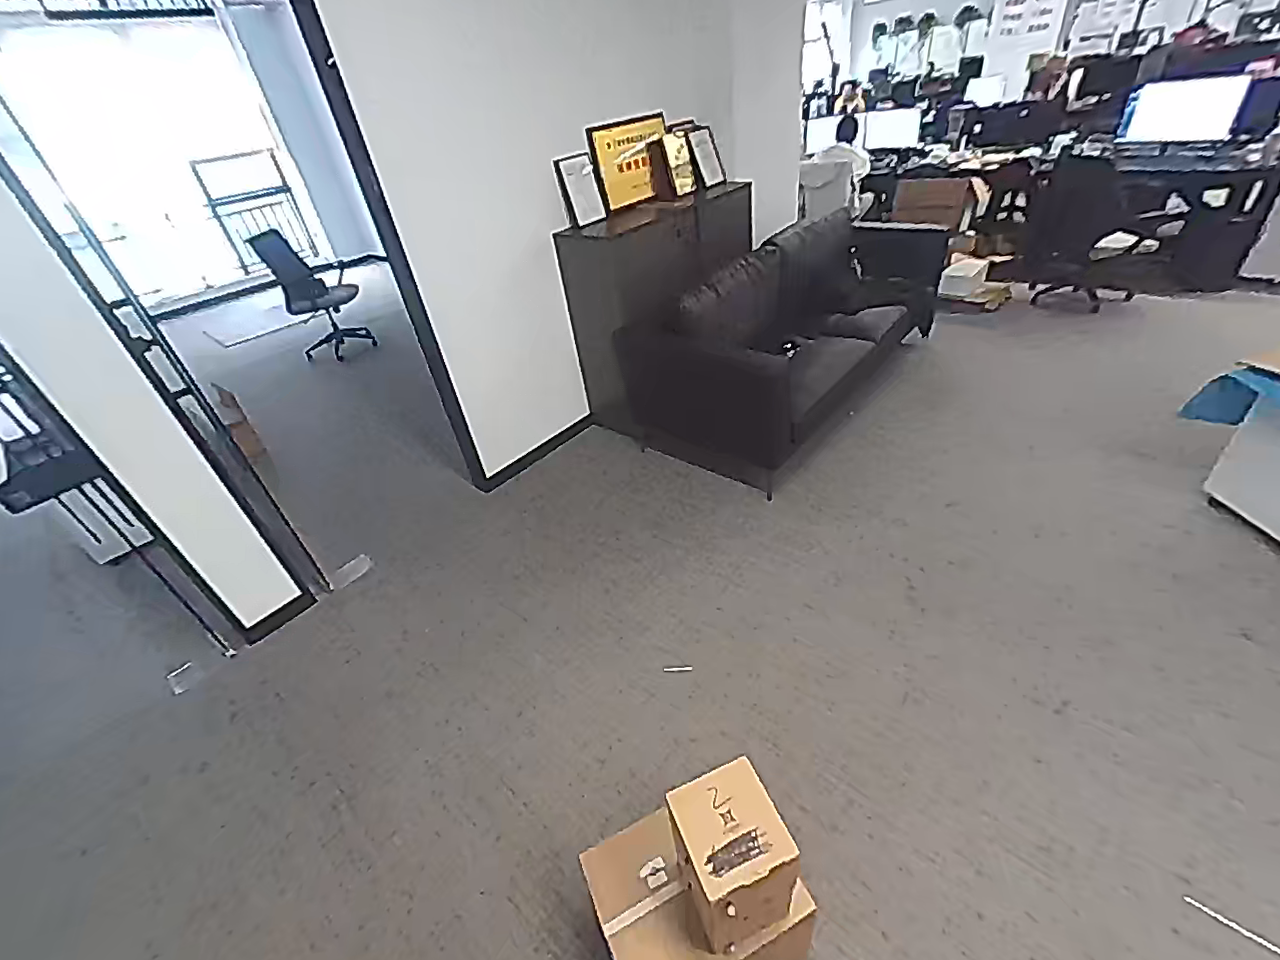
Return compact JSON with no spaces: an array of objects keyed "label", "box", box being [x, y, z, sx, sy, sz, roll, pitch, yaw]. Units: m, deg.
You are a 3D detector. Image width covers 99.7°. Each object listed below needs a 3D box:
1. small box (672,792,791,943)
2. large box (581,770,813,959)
[{"label":"small box","box":[0.177,0.764,1.060,0.168,0.176,0.179,-18,38,-13]},{"label":"large box","box":[0.128,0.959,1.222,0.408,0.320,0.320,-21,37,-16]}]
